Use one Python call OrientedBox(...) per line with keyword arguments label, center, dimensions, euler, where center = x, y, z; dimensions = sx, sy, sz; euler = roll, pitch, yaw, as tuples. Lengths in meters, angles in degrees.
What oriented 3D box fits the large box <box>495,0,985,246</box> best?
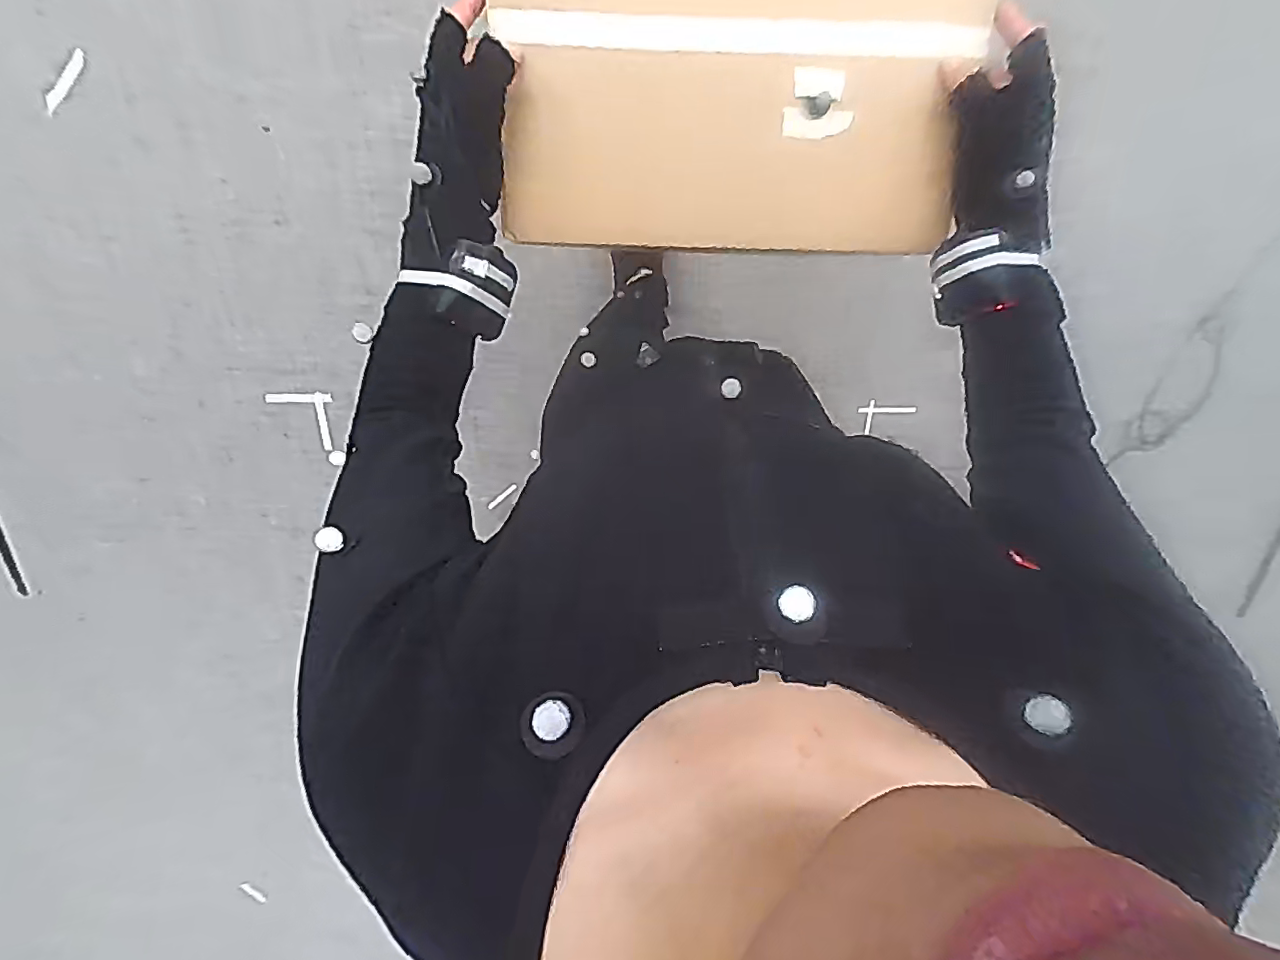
OrientedBox(label="large box", center=(0.074, -0.424, 0.578), dimensions=(0.408, 0.320, 0.320), euler=(0, 113, -3))
